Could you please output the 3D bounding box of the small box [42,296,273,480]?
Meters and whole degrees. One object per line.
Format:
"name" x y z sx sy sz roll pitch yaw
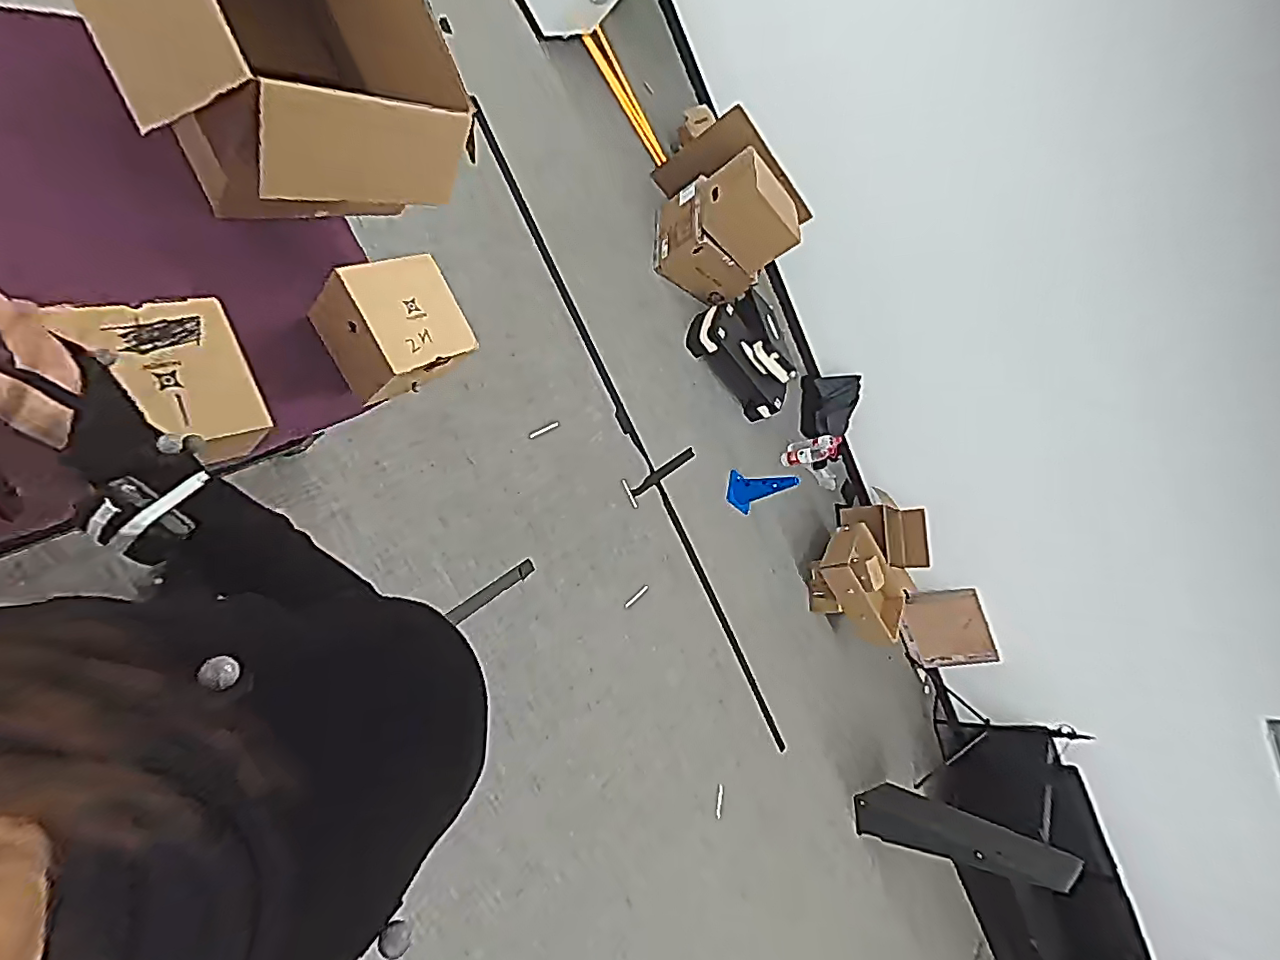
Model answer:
"small box" -0.612 -0.115 0.691 0.168 0.176 0.179 -26 99 -45

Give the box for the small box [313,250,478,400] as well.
"small box" -0.418 -0.260 0.920 0.168 0.176 0.179 -36 105 -43
